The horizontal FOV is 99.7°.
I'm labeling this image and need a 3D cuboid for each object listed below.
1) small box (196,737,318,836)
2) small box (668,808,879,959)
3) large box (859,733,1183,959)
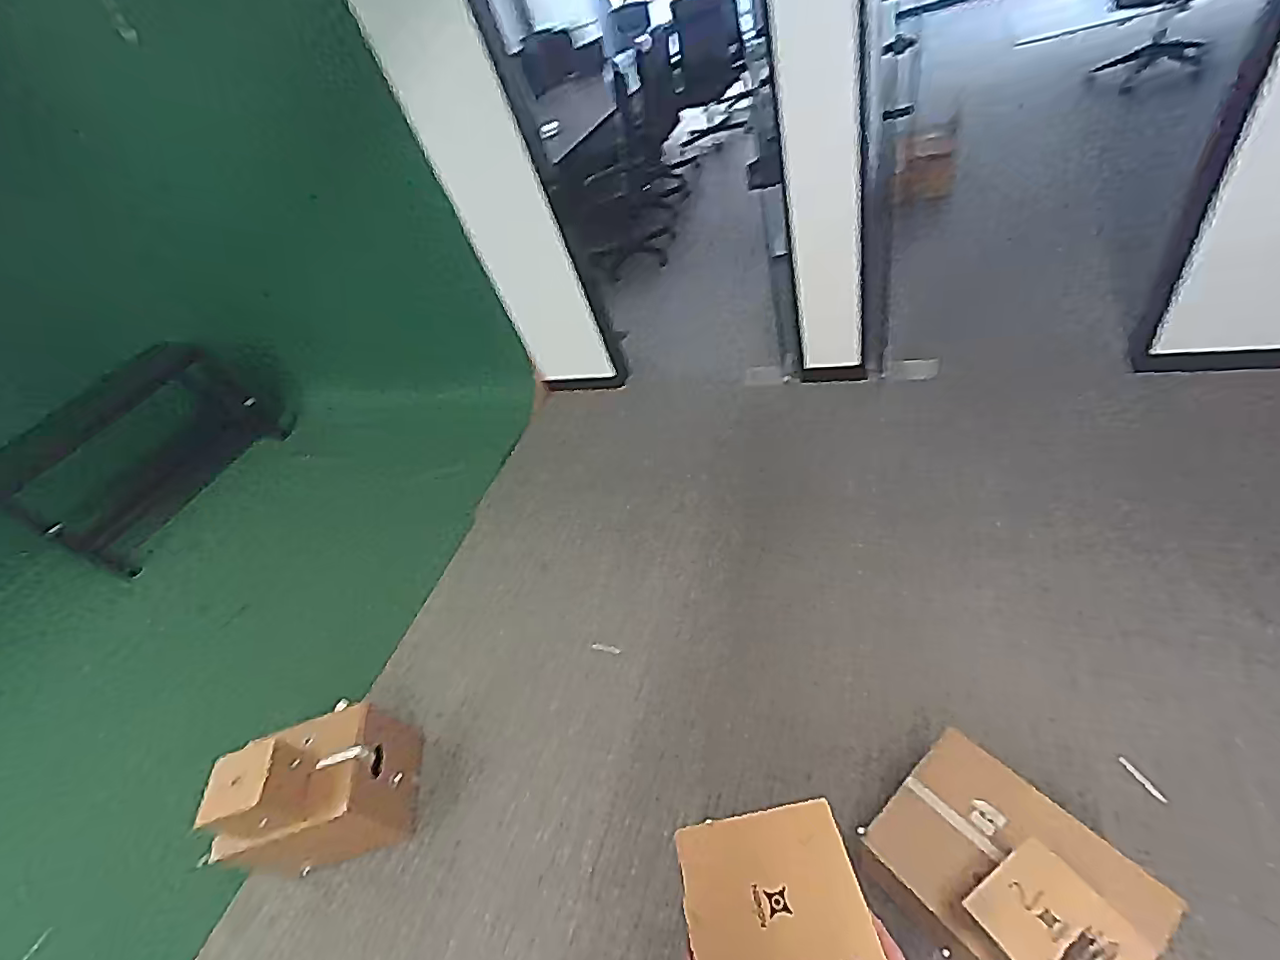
[{"bbox_3d":[-0.989,0.806,1.417,0.179,0.176,0.168,-20,44,4],"label":"small box"},{"bbox_3d":[0.139,0.484,0.571,0.179,0.176,0.168,-14,36,0],"label":"small box"},{"bbox_3d":[0.707,0.810,1.074,0.320,0.320,0.408,-38,44,-17],"label":"large box"}]
